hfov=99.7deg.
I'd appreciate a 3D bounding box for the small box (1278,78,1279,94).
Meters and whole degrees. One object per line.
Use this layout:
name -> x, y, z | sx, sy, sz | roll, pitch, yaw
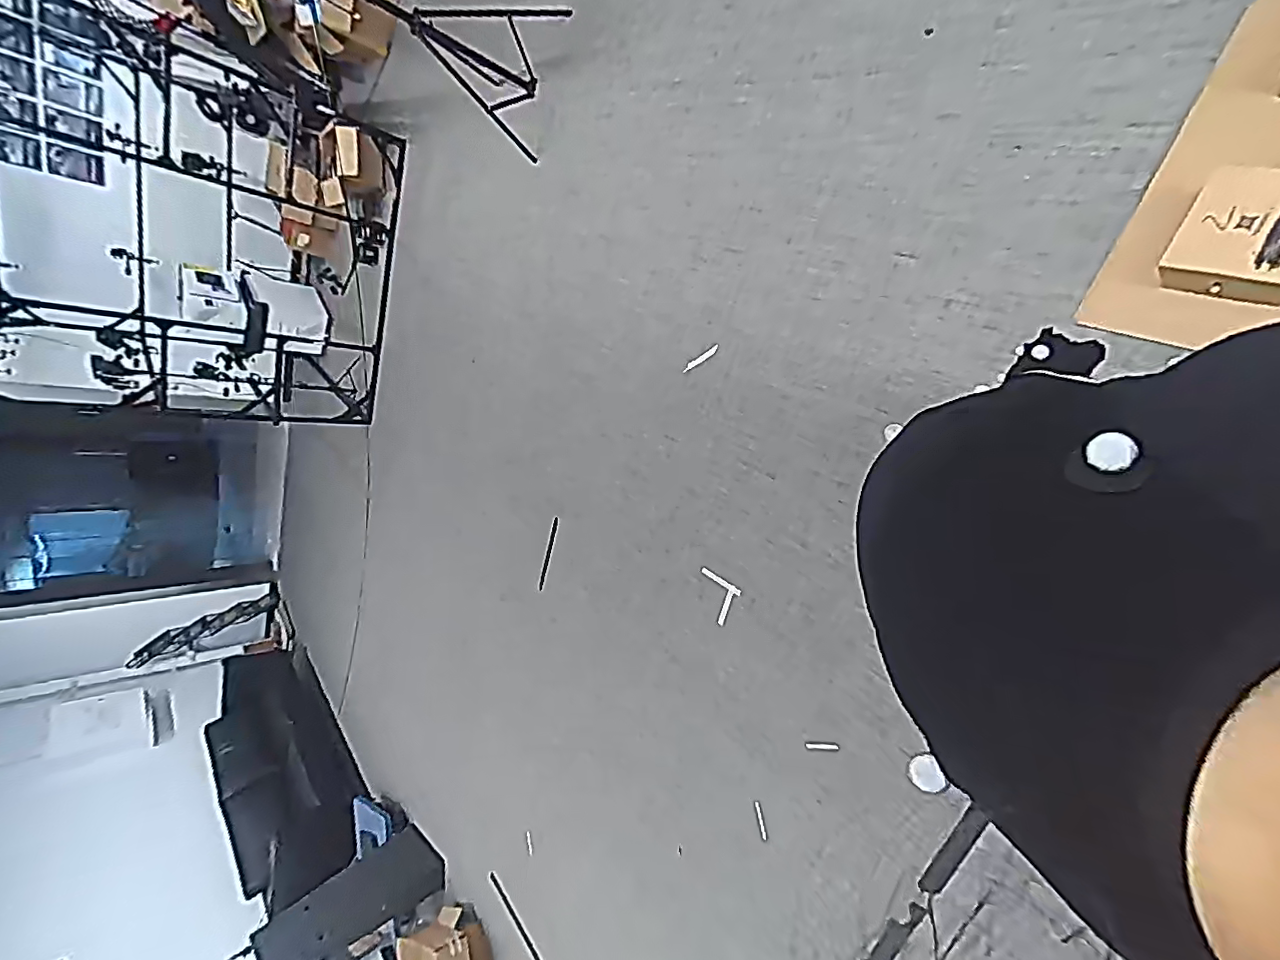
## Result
small box -> 1.160, -0.712, 0.835 | 0.179, 0.176, 0.168 | 40, 119, 37
